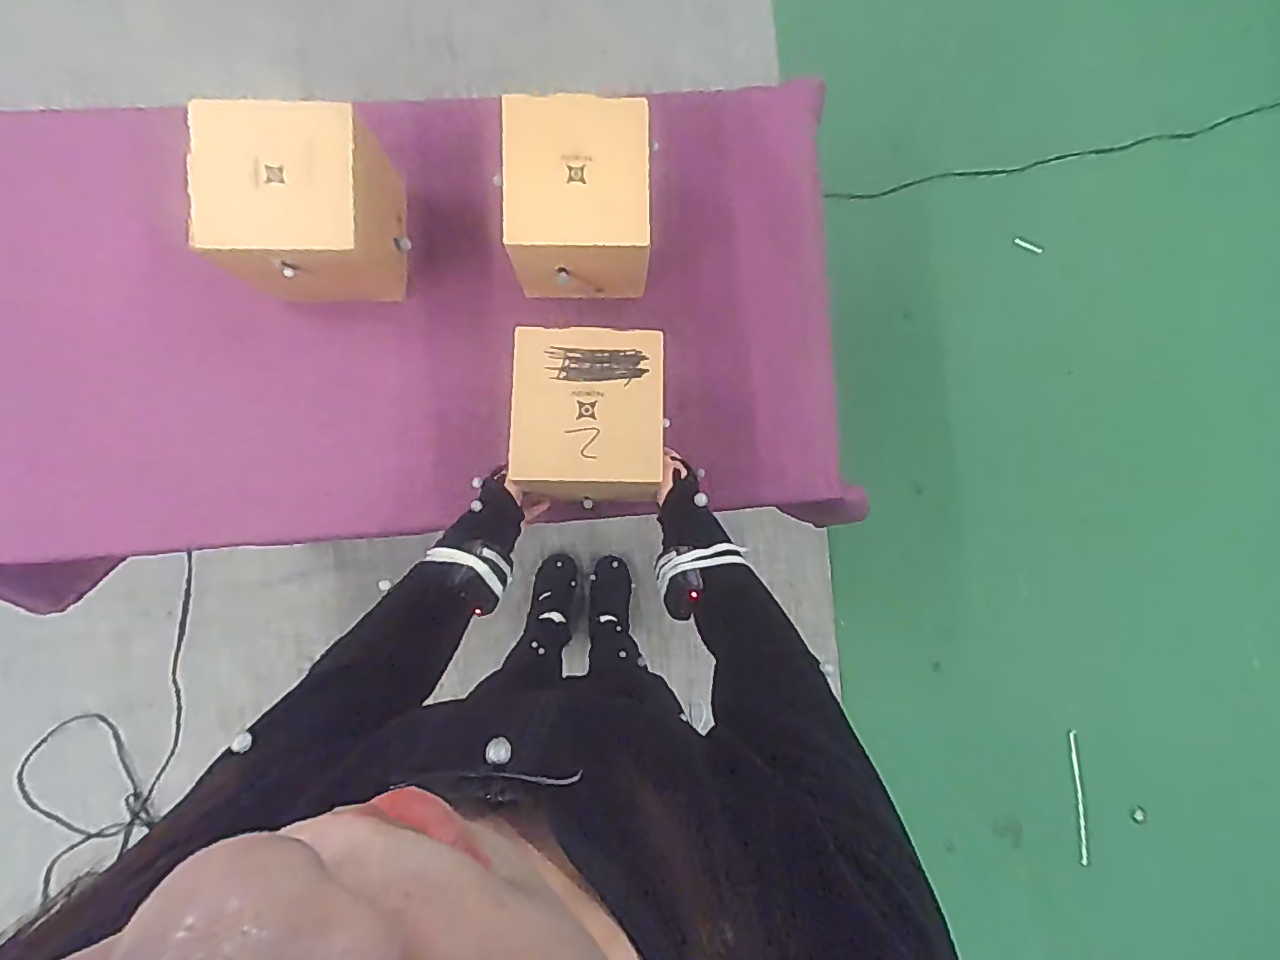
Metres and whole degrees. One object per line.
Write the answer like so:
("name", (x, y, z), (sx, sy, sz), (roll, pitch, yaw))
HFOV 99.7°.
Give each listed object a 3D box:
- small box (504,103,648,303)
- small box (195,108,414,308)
("small box", (-0.074, -0.338, 0.692), (0.168, 0.176, 0.179), (-1, 87, -3))
("small box", (-0.402, -0.324, 0.675), (0.179, 0.176, 0.168), (0, 88, -4))
